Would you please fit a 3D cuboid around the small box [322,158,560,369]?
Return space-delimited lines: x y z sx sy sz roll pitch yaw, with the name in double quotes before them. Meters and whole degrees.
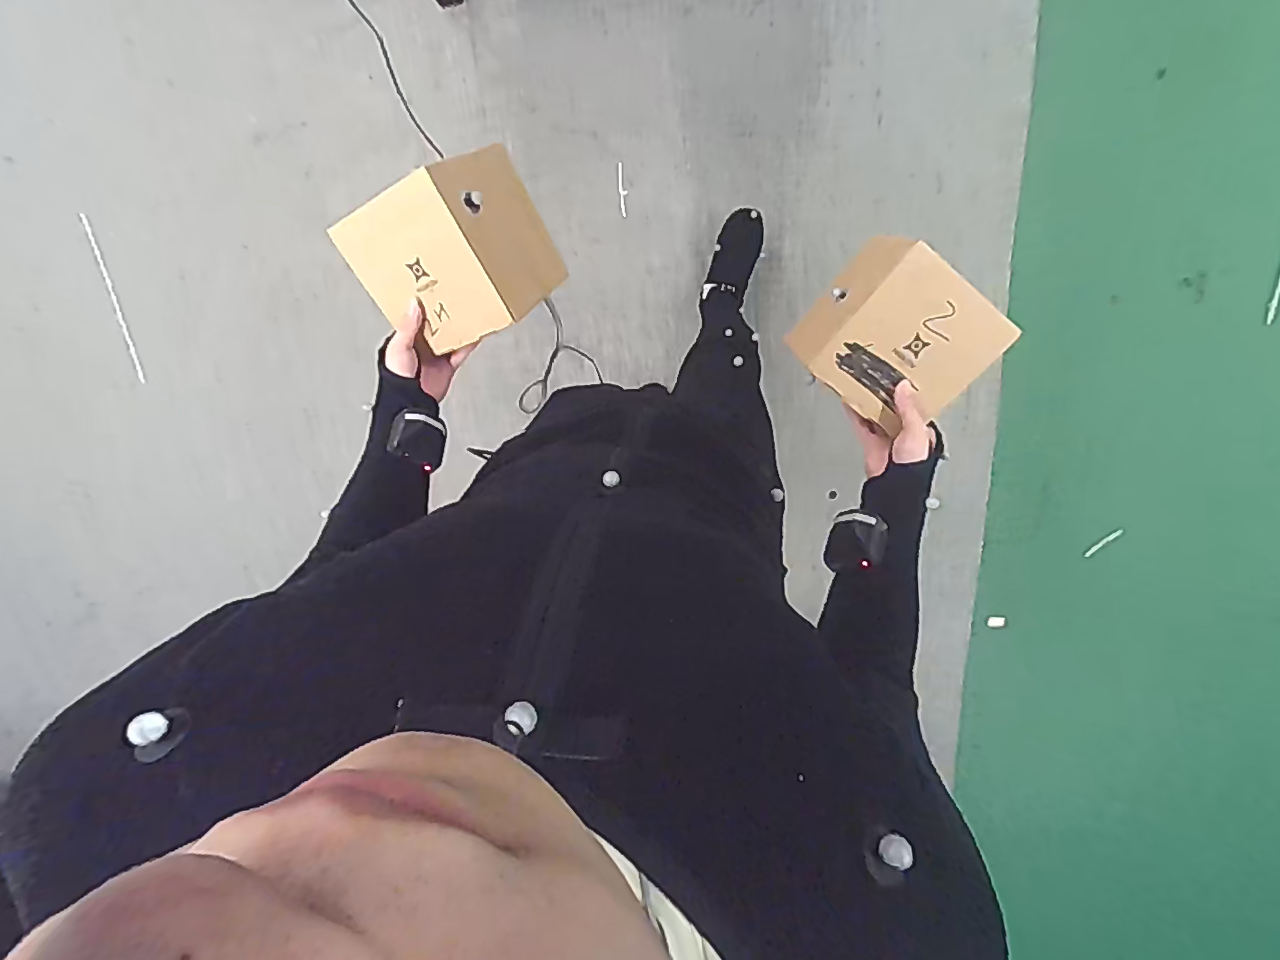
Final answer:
"small box" -0.228 -0.269 0.663 0.168 0.176 0.179 -12 123 28
